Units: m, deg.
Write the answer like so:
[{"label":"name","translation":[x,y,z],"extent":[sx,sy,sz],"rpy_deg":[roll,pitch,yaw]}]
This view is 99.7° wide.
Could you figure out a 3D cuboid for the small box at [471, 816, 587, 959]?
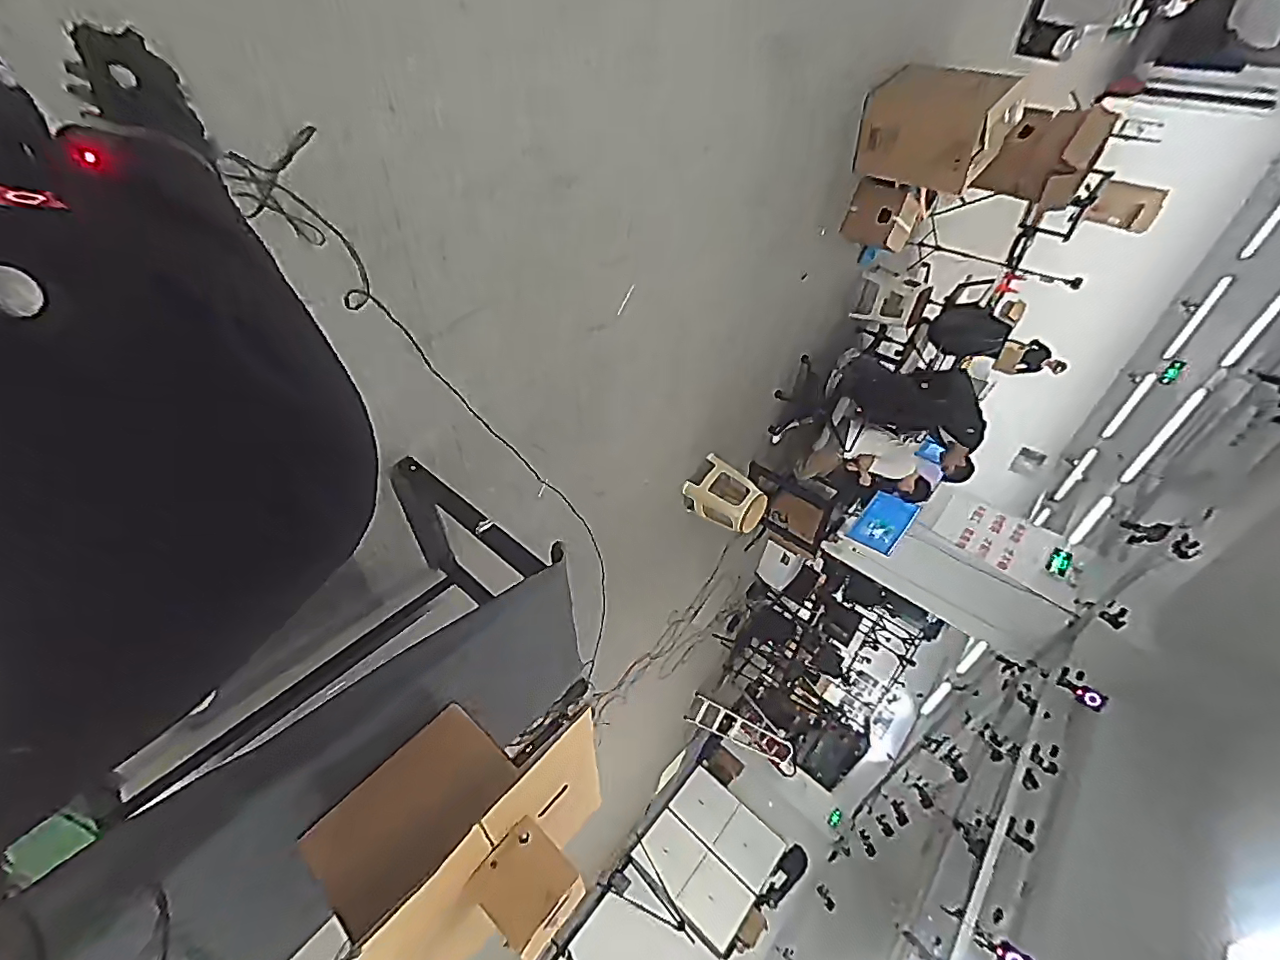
[{"label":"small box","translation":[-0.231,0.850,1.135],"extent":[0.168,0.176,0.179],"rpy_deg":[-38,146,-34]}]
